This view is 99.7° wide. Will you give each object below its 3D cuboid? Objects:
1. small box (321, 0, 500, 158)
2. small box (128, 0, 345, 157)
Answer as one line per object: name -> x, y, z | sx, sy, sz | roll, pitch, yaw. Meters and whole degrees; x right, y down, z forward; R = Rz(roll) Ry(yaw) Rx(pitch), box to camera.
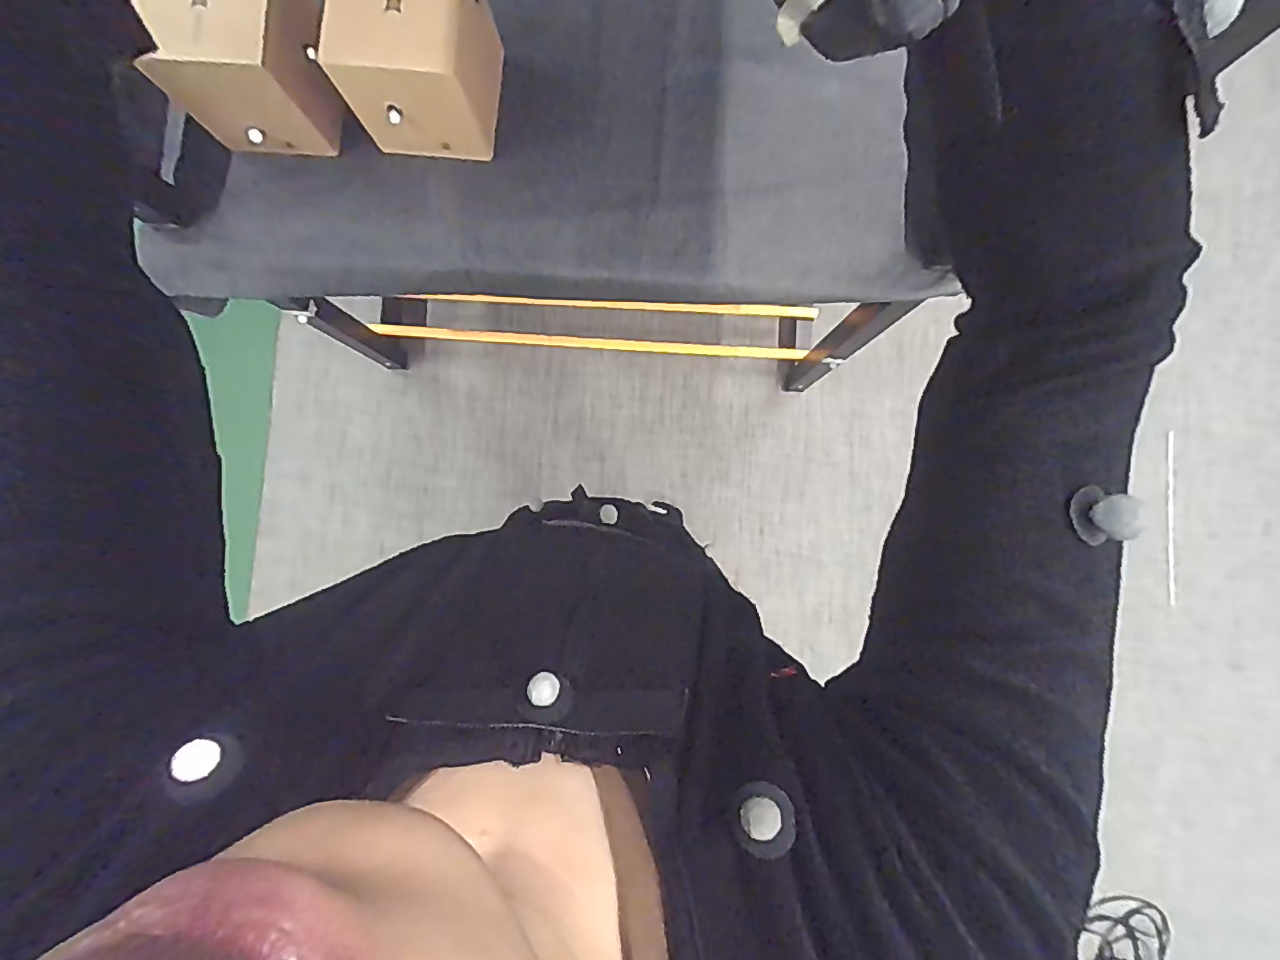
small box -> -0.296, -0.572, 0.732 | 0.168, 0.176, 0.179 | 5, 86, 0
small box -> -0.523, -0.578, 0.729 | 0.168, 0.176, 0.179 | 3, 87, 0
